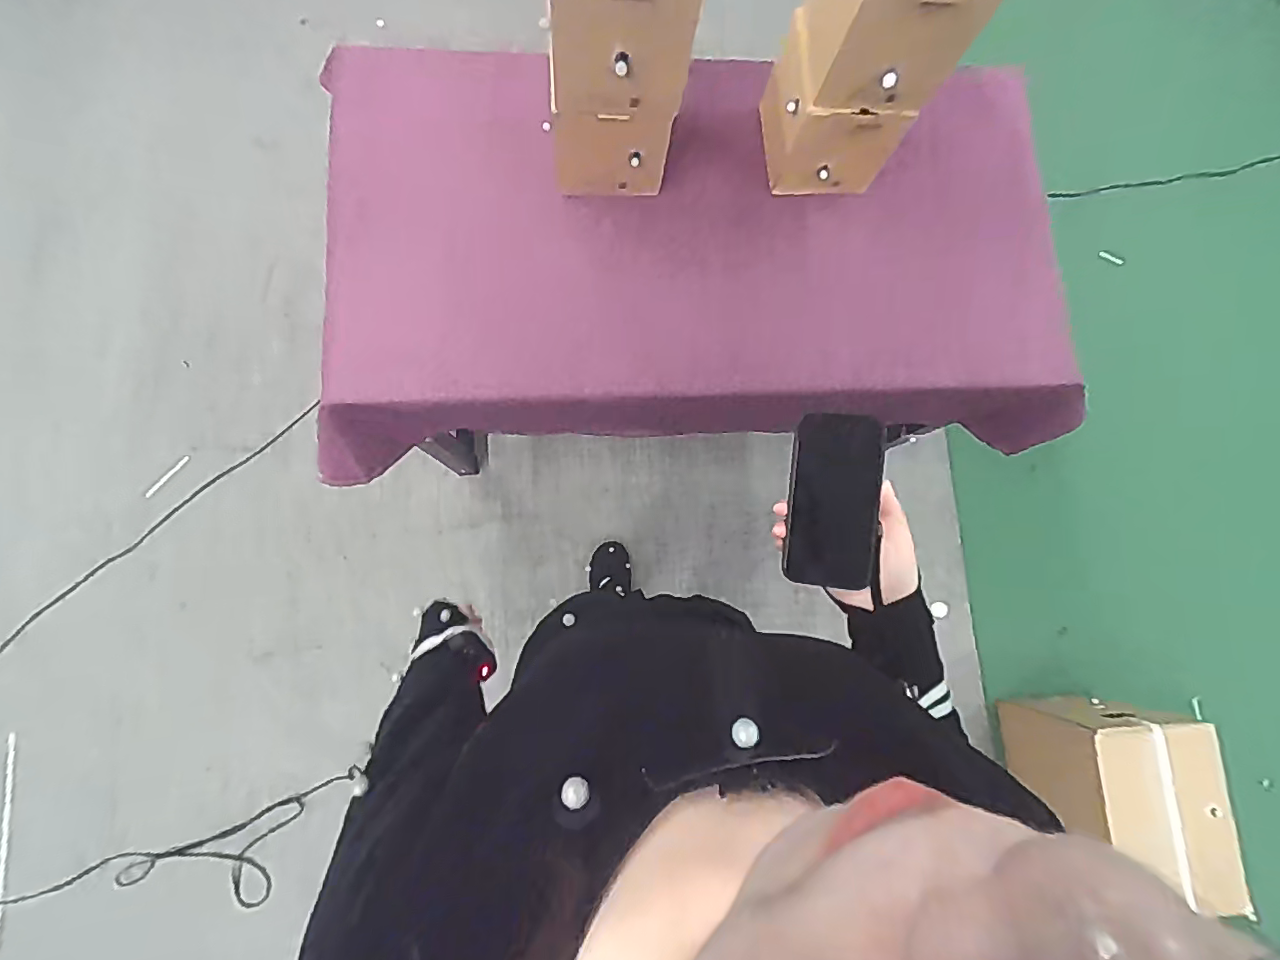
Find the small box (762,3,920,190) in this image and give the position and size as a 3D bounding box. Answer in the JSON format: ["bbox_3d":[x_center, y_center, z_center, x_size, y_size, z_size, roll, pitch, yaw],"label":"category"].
[{"bbox_3d":[0.299,-0.586,0.843,0.168,0.176,0.179,-5,82,-5],"label":"small box"}]

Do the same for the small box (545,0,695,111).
[{"bbox_3d":[-0.028,-0.583,0.649,0.168,0.176,0.179,-2,82,-6],"label":"small box"}]

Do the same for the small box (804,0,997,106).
[{"bbox_3d":[0.319,-0.619,0.682,0.168,0.176,0.179,-2,82,-5],"label":"small box"}]

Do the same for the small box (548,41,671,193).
[{"bbox_3d":[-0.049,-0.560,0.810,0.168,0.176,0.179,-2,81,-6],"label":"small box"}]
